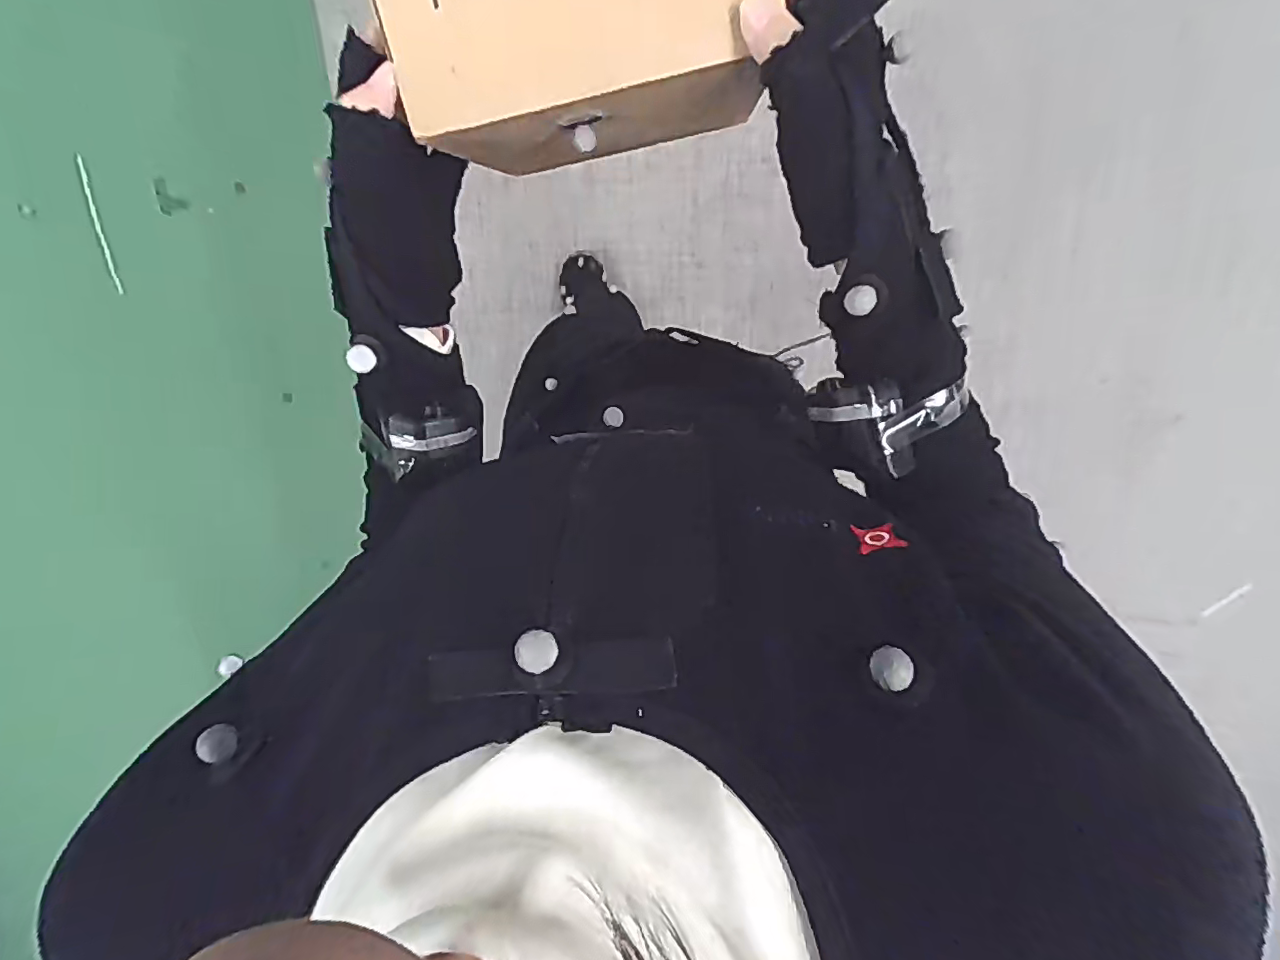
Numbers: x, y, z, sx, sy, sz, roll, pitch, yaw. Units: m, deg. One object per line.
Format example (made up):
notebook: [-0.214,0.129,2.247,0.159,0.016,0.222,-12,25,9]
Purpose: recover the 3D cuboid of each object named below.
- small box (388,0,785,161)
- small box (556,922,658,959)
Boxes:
small box: [-0.028,-0.287,0.289,0.179,0.176,0.168,-8,113,8]
small box: [-0.063,0.903,0.925,0.179,0.176,0.168,1,110,4]
